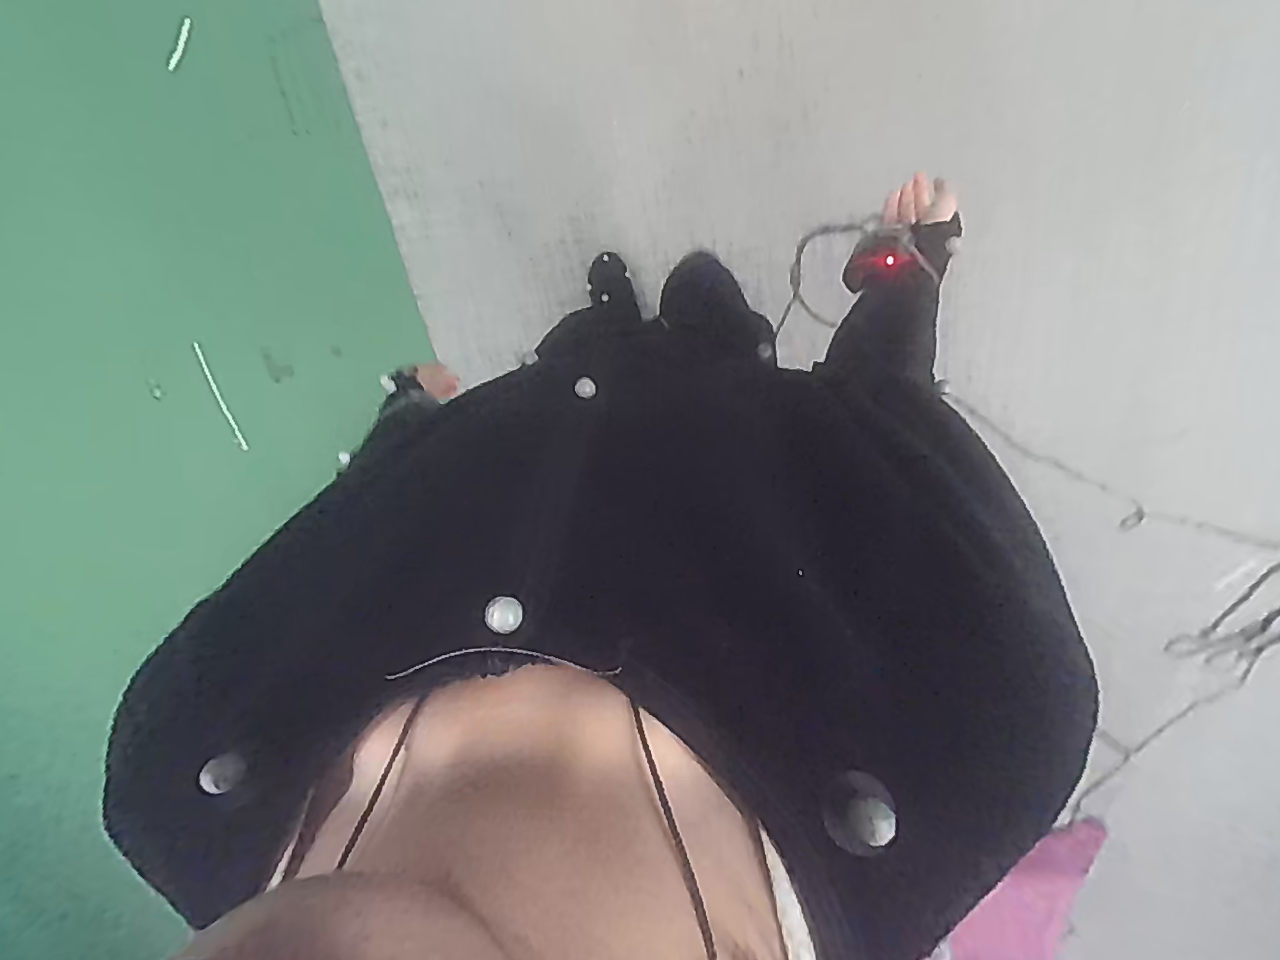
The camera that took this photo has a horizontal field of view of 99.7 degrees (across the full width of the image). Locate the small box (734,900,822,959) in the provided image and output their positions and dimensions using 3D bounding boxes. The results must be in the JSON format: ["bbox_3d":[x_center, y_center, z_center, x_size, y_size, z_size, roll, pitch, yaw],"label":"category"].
[{"bbox_3d":[0.300,1.032,1.155,0.168,0.176,0.179,-9,116,6],"label":"small box"}]
